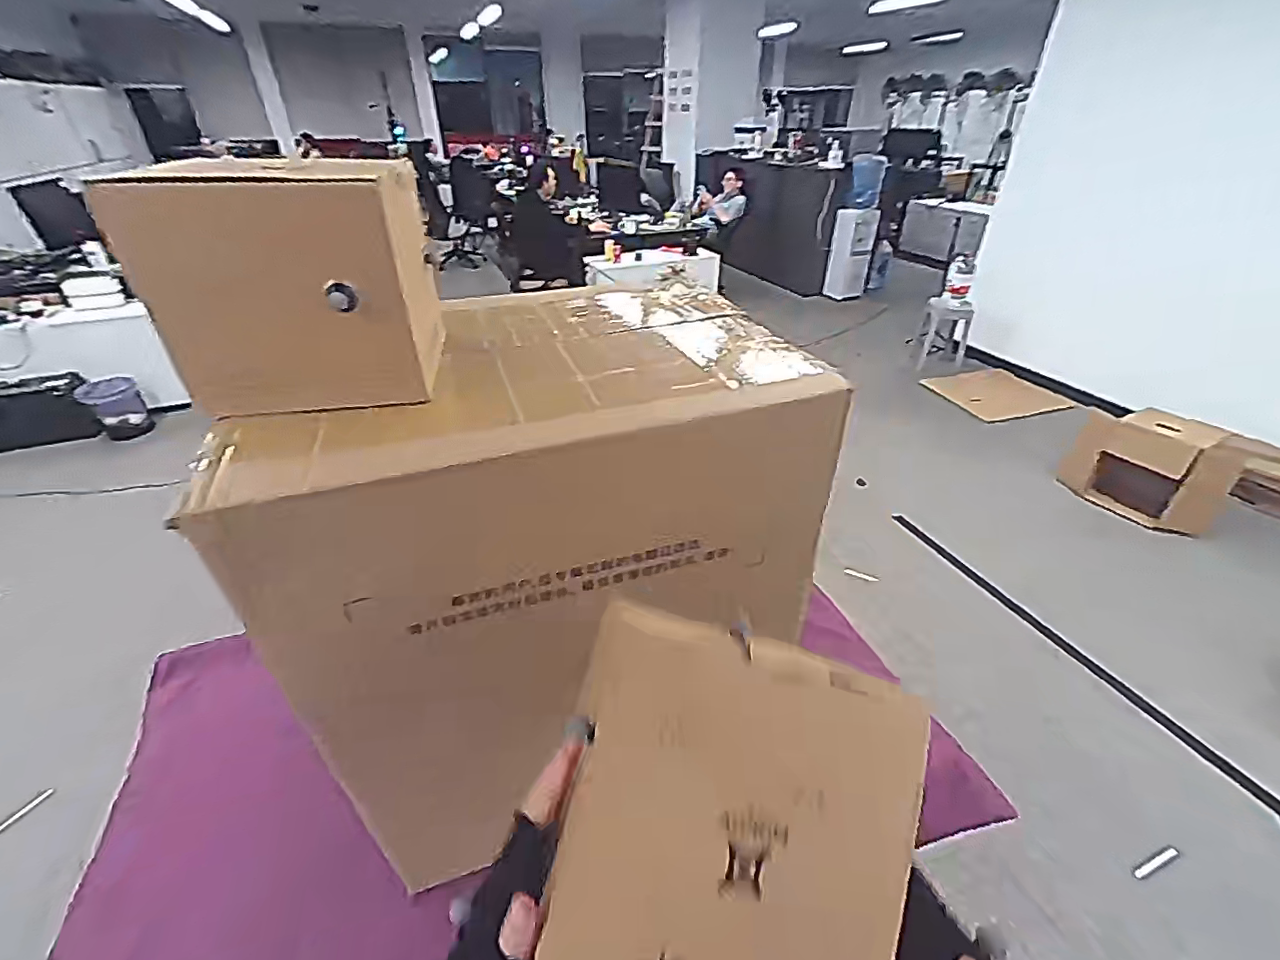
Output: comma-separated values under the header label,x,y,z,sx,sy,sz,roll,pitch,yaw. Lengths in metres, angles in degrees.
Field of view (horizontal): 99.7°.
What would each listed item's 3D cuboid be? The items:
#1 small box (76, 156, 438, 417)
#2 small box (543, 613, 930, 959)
label,x,y,z,sx,sy,sz,roll,pitch,yaw
small box,-0.279,-0.167,0.454,0.179,0.176,0.168,-7,34,-10
small box,0.042,0.194,0.341,0.168,0.179,0.176,17,-10,-4
